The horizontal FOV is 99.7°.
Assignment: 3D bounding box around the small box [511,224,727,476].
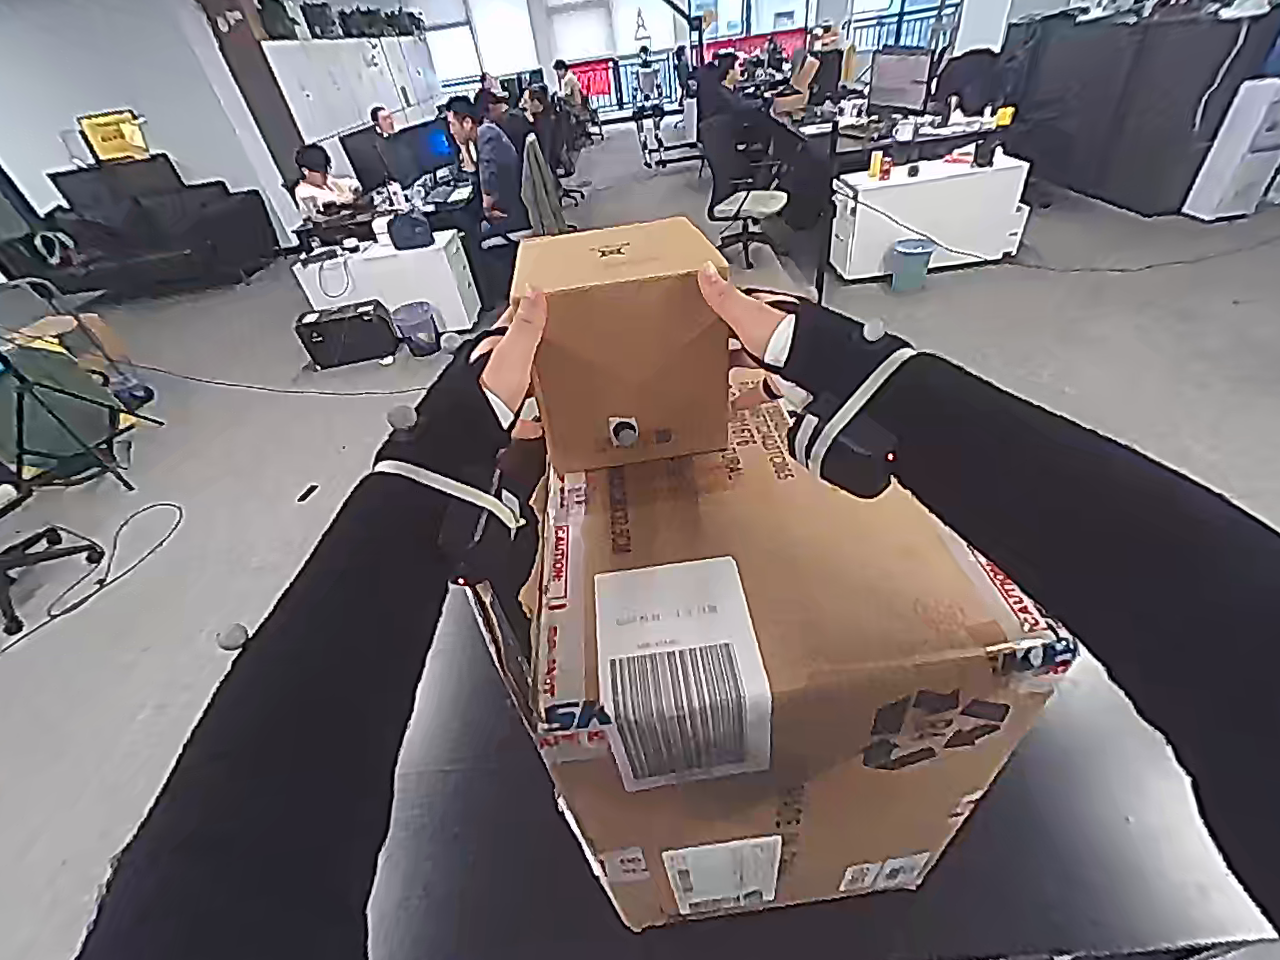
[{"bbox_3d":[-0.018,-0.127,0.518,0.168,0.176,0.179,-10,38,-2],"label":"small box"}]
